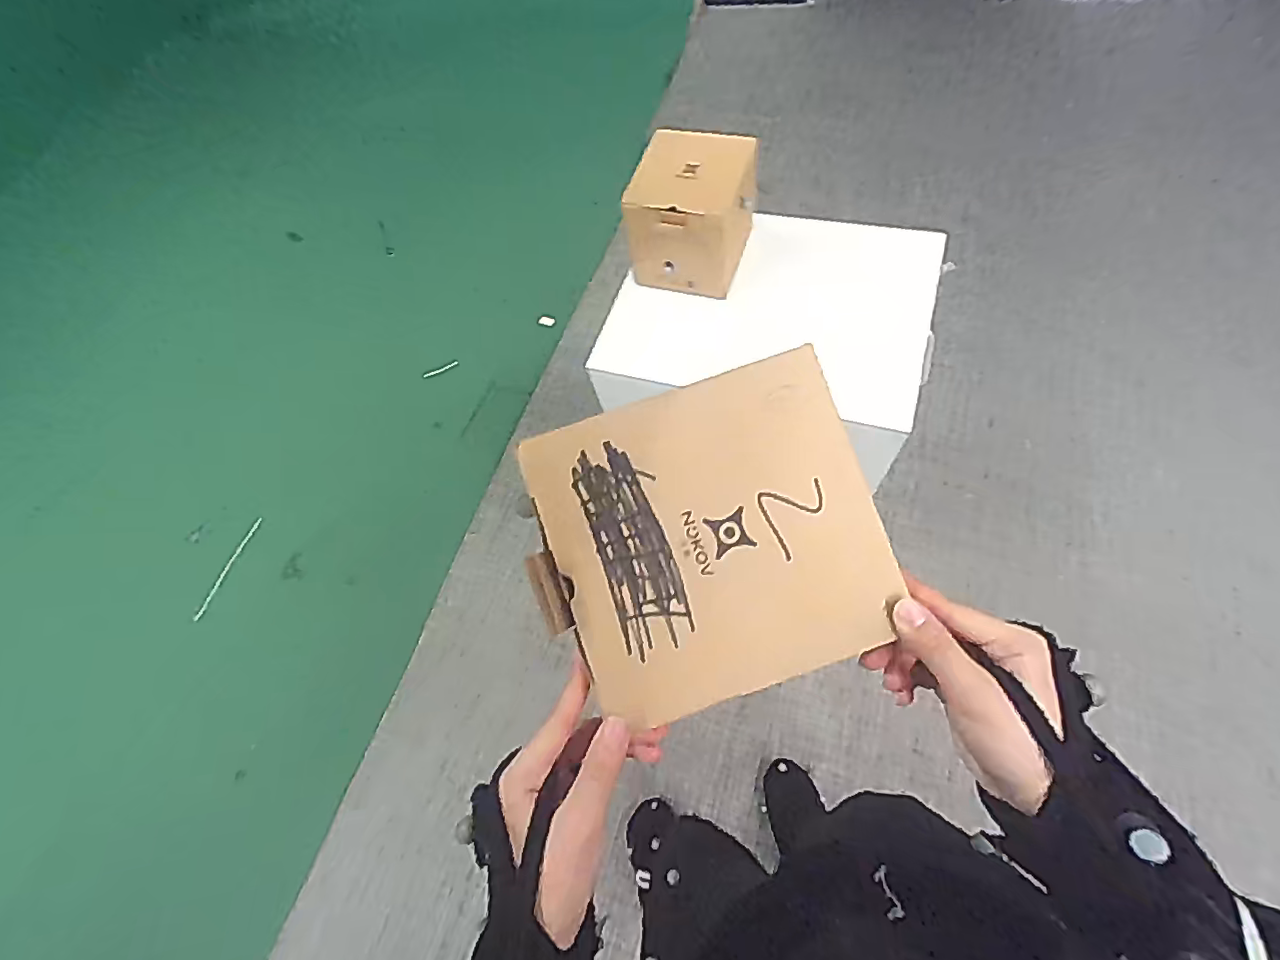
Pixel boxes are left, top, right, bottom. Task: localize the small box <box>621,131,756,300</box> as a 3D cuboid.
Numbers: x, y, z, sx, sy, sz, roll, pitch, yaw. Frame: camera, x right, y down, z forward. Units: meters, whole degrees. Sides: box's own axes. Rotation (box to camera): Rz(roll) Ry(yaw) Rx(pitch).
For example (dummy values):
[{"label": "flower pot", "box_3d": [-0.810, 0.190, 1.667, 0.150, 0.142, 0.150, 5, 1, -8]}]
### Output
[{"label": "small box", "box_3d": [0.083, -0.432, 0.893, 0.168, 0.176, 0.179, 15, 69, 15]}]
